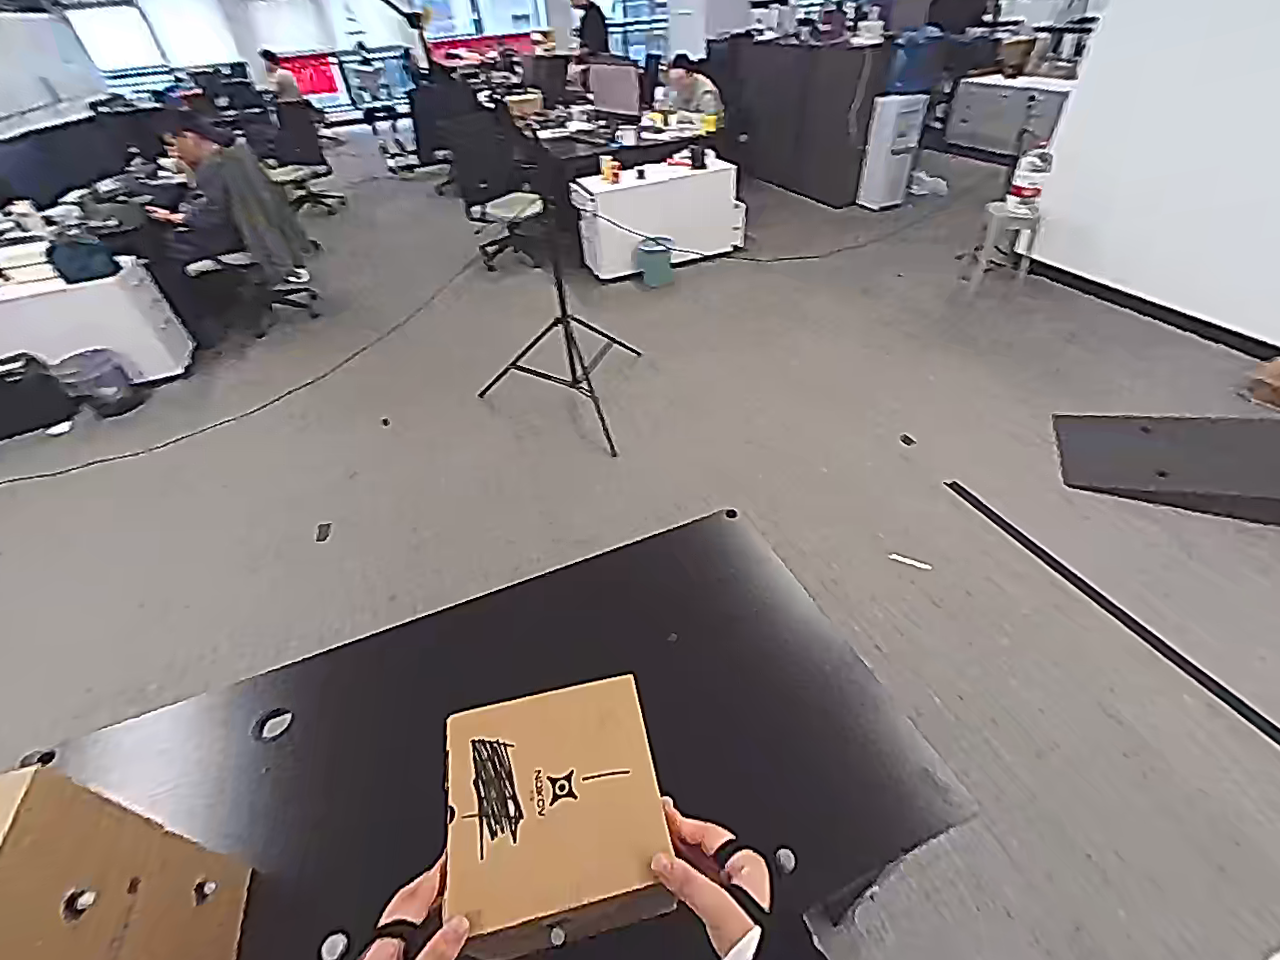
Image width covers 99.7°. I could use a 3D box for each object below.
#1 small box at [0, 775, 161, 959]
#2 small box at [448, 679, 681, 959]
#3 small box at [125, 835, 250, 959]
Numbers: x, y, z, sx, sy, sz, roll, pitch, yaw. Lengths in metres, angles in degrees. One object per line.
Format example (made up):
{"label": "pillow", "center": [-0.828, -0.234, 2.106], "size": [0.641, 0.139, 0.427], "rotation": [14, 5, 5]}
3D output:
{"label": "small box", "center": [-0.554, 0.381, 0.440], "size": [0.179, 0.176, 0.168], "rotation": [-17, 42, -11]}
{"label": "small box", "center": [-0.065, 0.316, 0.504], "size": [0.179, 0.176, 0.168], "rotation": [-10, 46, -8]}
{"label": "small box", "center": [-0.535, 0.507, 0.546], "size": [0.168, 0.176, 0.179], "rotation": [-17, 44, -11]}
